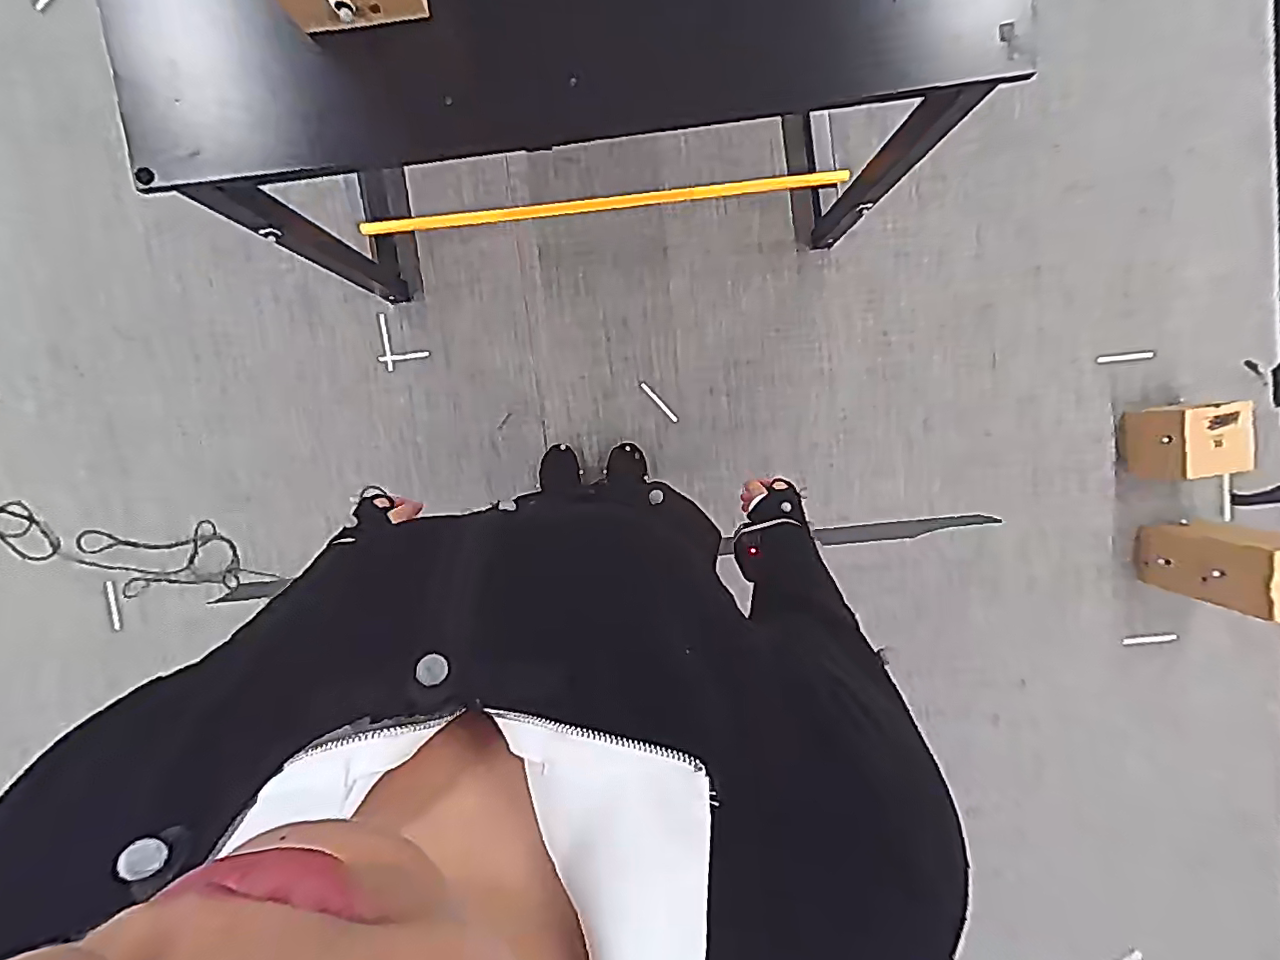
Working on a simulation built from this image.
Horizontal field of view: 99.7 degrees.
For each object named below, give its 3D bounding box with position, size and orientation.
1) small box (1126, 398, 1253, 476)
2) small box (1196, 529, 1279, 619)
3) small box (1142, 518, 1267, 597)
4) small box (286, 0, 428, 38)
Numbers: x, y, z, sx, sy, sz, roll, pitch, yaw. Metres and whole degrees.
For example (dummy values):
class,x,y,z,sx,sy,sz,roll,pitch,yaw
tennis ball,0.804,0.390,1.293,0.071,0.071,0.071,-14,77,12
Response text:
class,x,y,z,sx,sy,sz,roll,pitch,yaw
small box,1.411,-0.111,1.400,0.168,0.176,0.179,-8,96,1
small box,1.475,0.213,1.265,0.179,0.176,0.168,-5,95,1
small box,1.483,0.200,1.430,0.179,0.176,0.168,-7,95,1
small box,-0.368,-0.671,0.625,0.168,0.176,0.179,-9,95,2
